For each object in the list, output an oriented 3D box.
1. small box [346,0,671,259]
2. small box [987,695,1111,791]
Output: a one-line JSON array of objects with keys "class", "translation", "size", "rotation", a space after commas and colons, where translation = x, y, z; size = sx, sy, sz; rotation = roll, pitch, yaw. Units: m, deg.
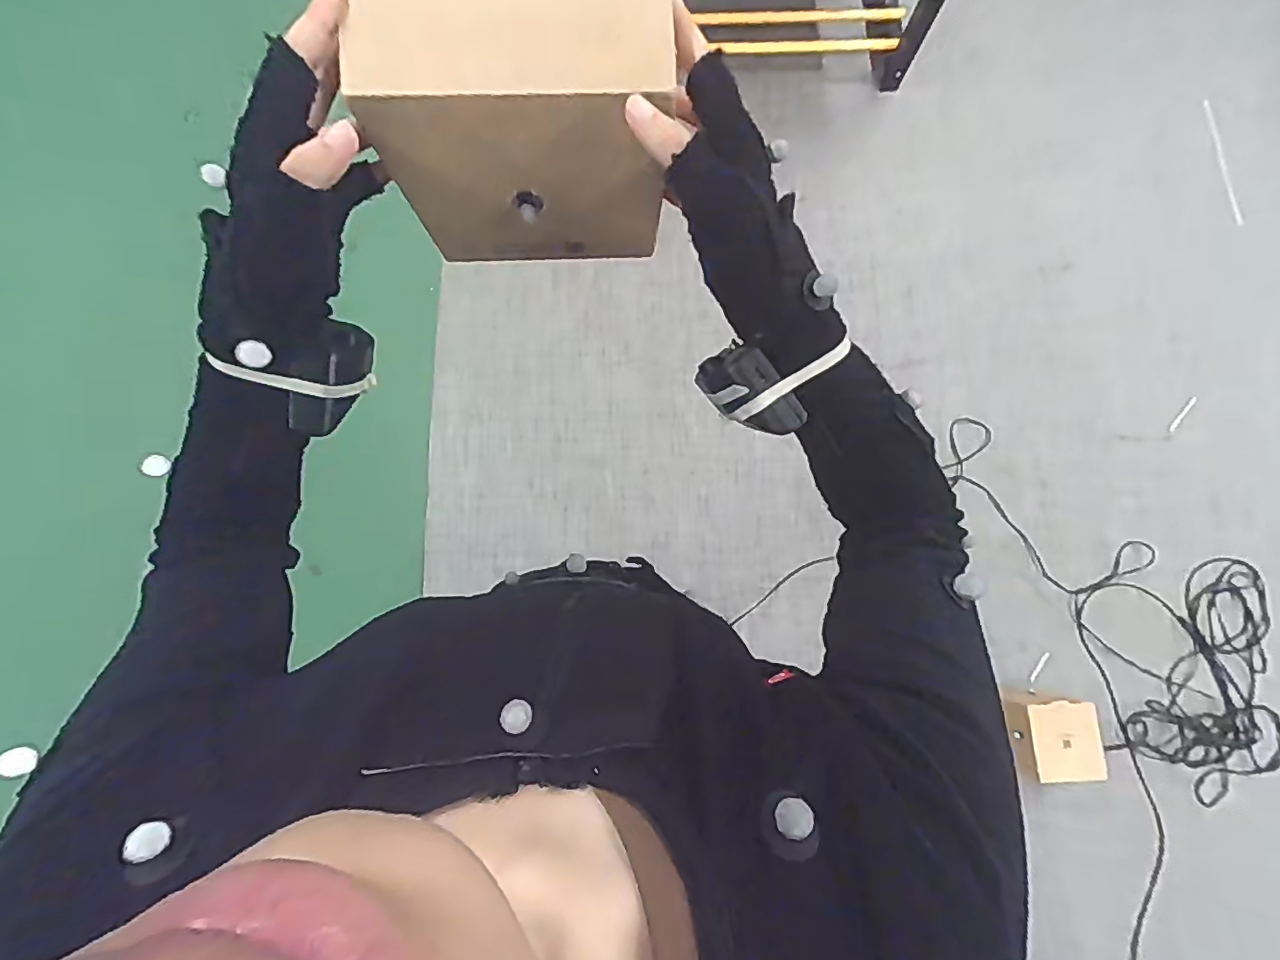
[{"class": "small box", "translation": [-0.070, -0.264, 0.358], "size": [0.168, 0.176, 0.179], "rotation": [-2, 84, -3]}, {"class": "small box", "translation": [1.002, 0.645, 1.340], "size": [0.168, 0.176, 0.179], "rotation": [-2, 78, -1]}]
